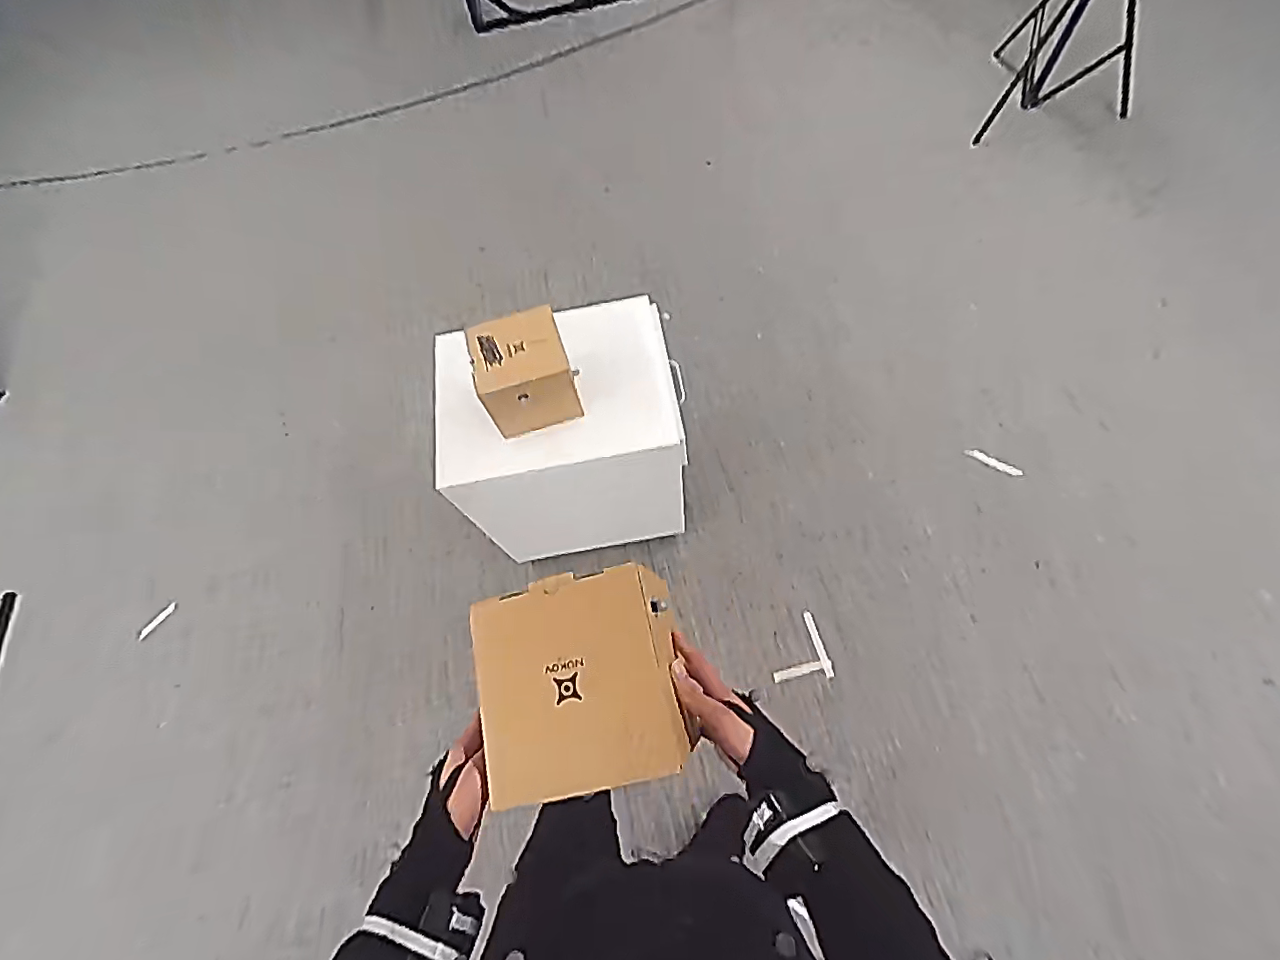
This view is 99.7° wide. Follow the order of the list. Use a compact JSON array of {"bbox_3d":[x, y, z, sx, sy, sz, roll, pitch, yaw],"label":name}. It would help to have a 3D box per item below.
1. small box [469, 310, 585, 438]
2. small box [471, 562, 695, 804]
[{"bbox_3d":[-0.224,-0.207,1.096,0.179,0.176,0.168,-17,65,-3],"label":"small box"},{"bbox_3d":[-0.048,0.196,0.545,0.168,0.176,0.179,-16,69,7],"label":"small box"}]
